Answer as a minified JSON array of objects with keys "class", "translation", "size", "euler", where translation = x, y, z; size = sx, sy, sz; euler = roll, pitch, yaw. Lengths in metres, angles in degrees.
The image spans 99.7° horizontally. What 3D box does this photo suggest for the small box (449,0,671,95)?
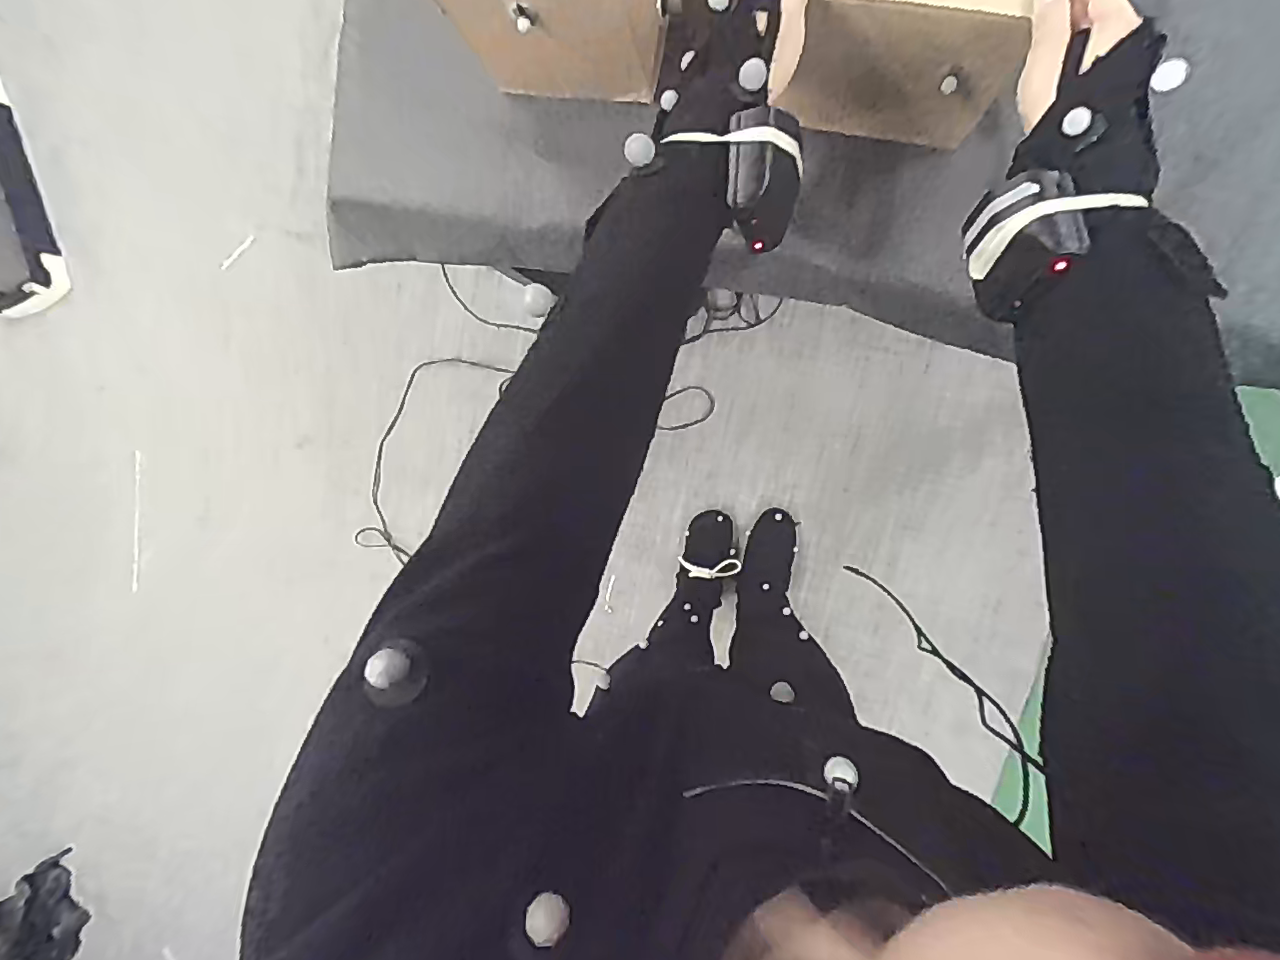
[{"class":"small box","translation":[-0.070,-0.473,0.474],"size":[0.179,0.176,0.168],"euler":[11,100,9]}]
